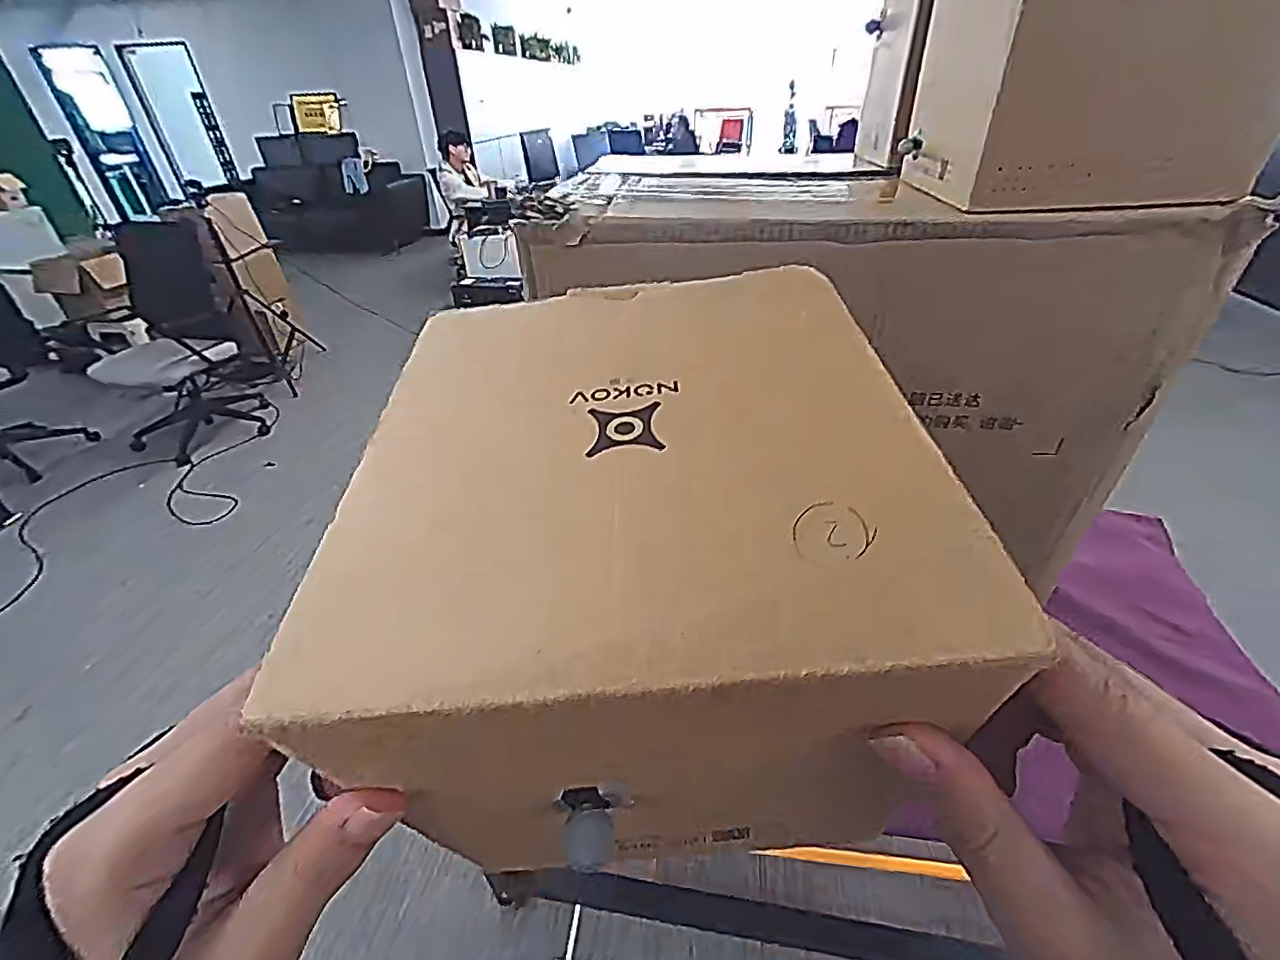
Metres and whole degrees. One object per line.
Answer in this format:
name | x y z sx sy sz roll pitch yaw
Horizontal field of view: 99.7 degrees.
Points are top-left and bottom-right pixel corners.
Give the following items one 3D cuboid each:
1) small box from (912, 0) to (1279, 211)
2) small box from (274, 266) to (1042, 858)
small box | 0.314 -0.297 0.385 0.179 0.176 0.168 0 36 6
small box | 0.007 0.038 0.225 0.168 0.176 0.179 -7 45 2
